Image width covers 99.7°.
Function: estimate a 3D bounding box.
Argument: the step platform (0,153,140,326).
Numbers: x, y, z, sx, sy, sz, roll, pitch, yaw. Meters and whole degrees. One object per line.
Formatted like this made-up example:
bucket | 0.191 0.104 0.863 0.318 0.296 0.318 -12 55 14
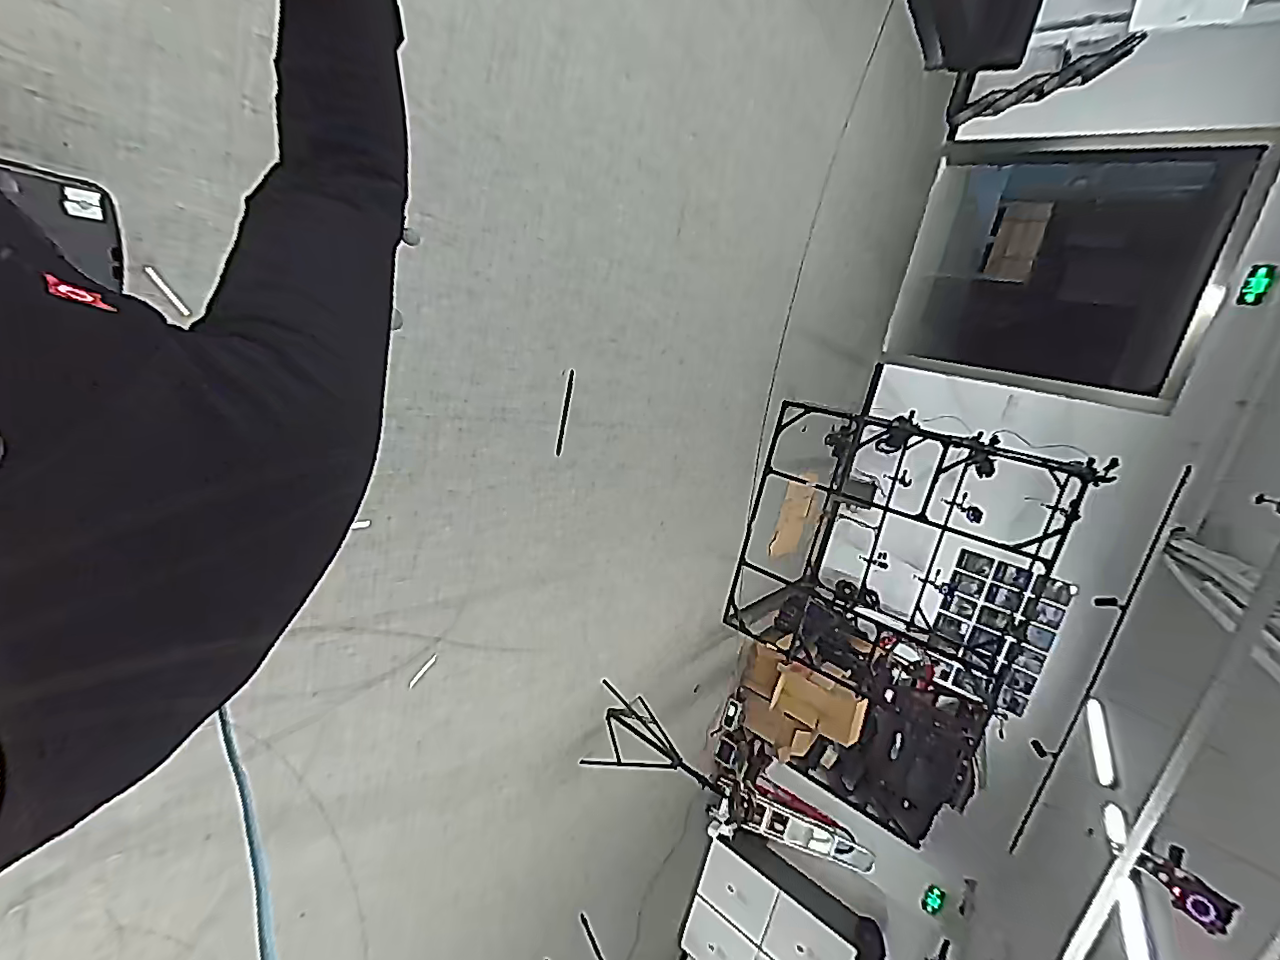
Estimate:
step platform | -1.273 -0.439 0.872 0.684 0.204 0.286 -9 115 -54
